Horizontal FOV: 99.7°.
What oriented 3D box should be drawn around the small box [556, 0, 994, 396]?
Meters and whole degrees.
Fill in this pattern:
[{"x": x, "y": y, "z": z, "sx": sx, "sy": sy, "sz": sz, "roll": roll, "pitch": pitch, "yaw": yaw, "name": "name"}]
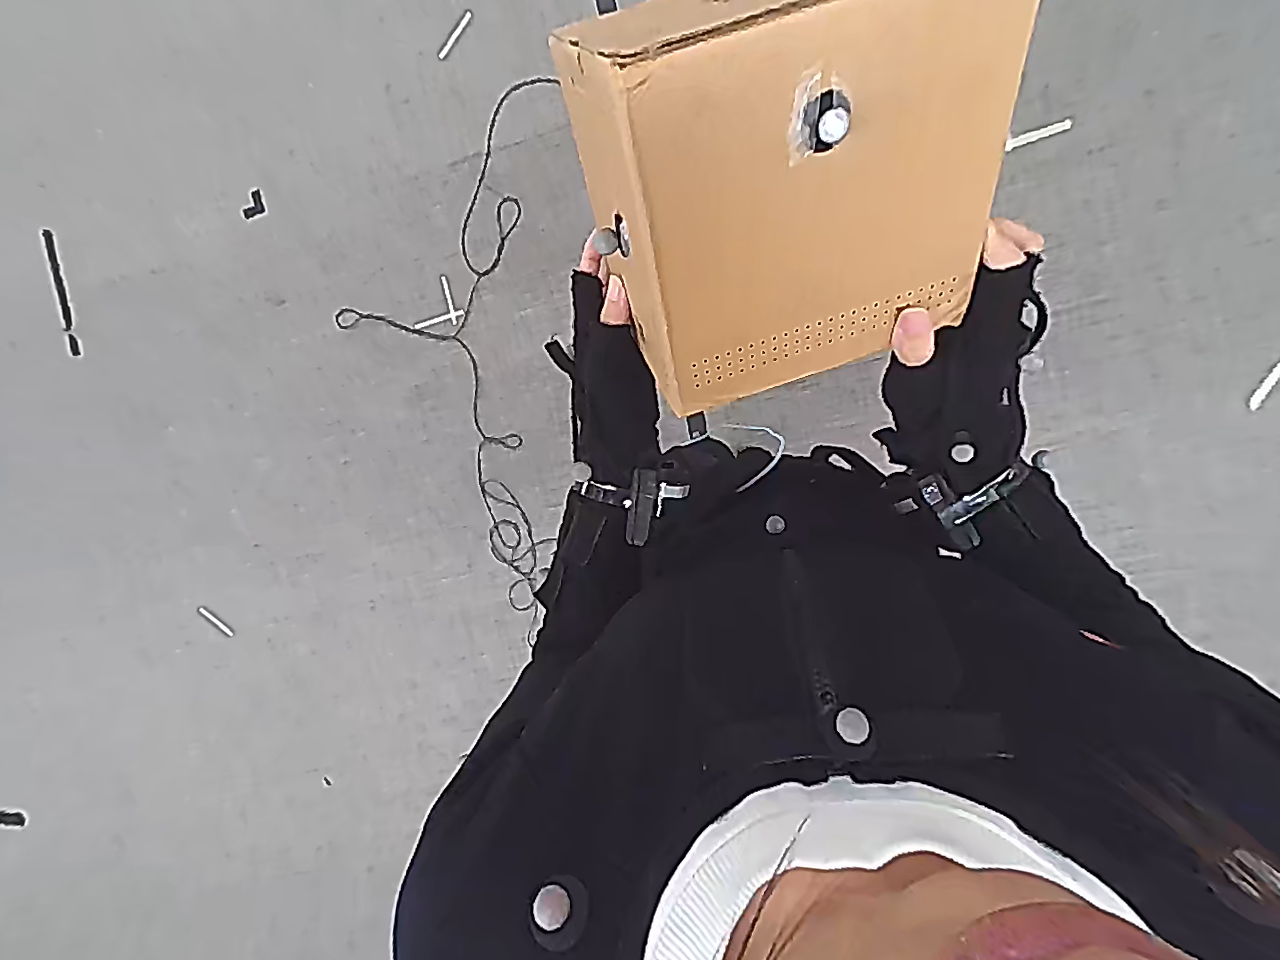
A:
[{"x": 0.067, "y": -0.175, "z": 0.325, "sx": 0.179, "sy": 0.168, "sz": 0.176, "roll": -19, "pitch": 134, "yaw": -3, "name": "small box"}]
